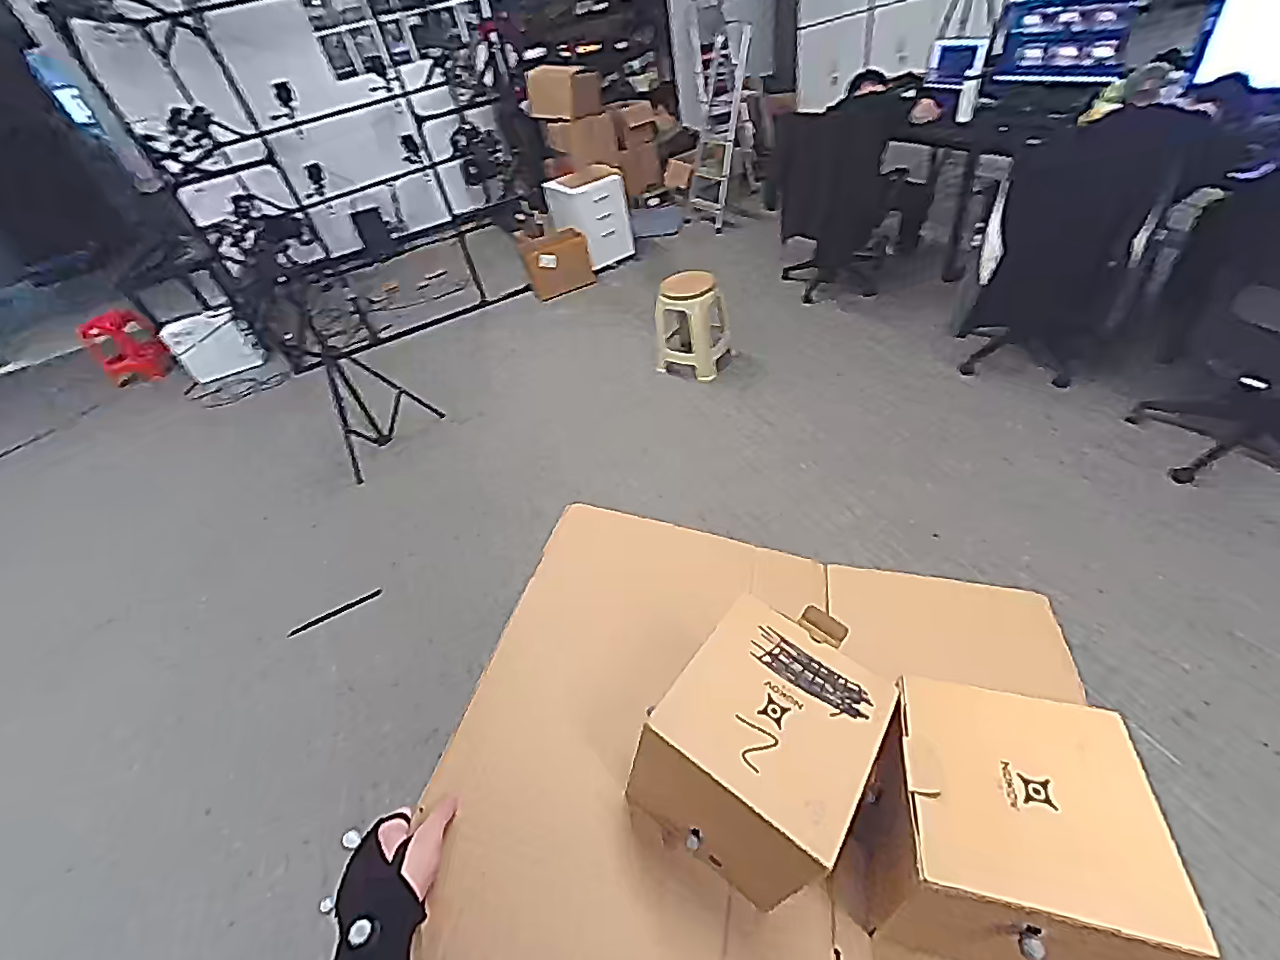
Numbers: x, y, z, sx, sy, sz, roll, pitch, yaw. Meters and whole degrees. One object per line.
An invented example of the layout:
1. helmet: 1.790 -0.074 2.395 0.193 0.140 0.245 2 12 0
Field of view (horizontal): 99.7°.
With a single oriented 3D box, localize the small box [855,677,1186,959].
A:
1. small box: 0.303 0.309 0.484 0.179 0.176 0.168 6 41 13
